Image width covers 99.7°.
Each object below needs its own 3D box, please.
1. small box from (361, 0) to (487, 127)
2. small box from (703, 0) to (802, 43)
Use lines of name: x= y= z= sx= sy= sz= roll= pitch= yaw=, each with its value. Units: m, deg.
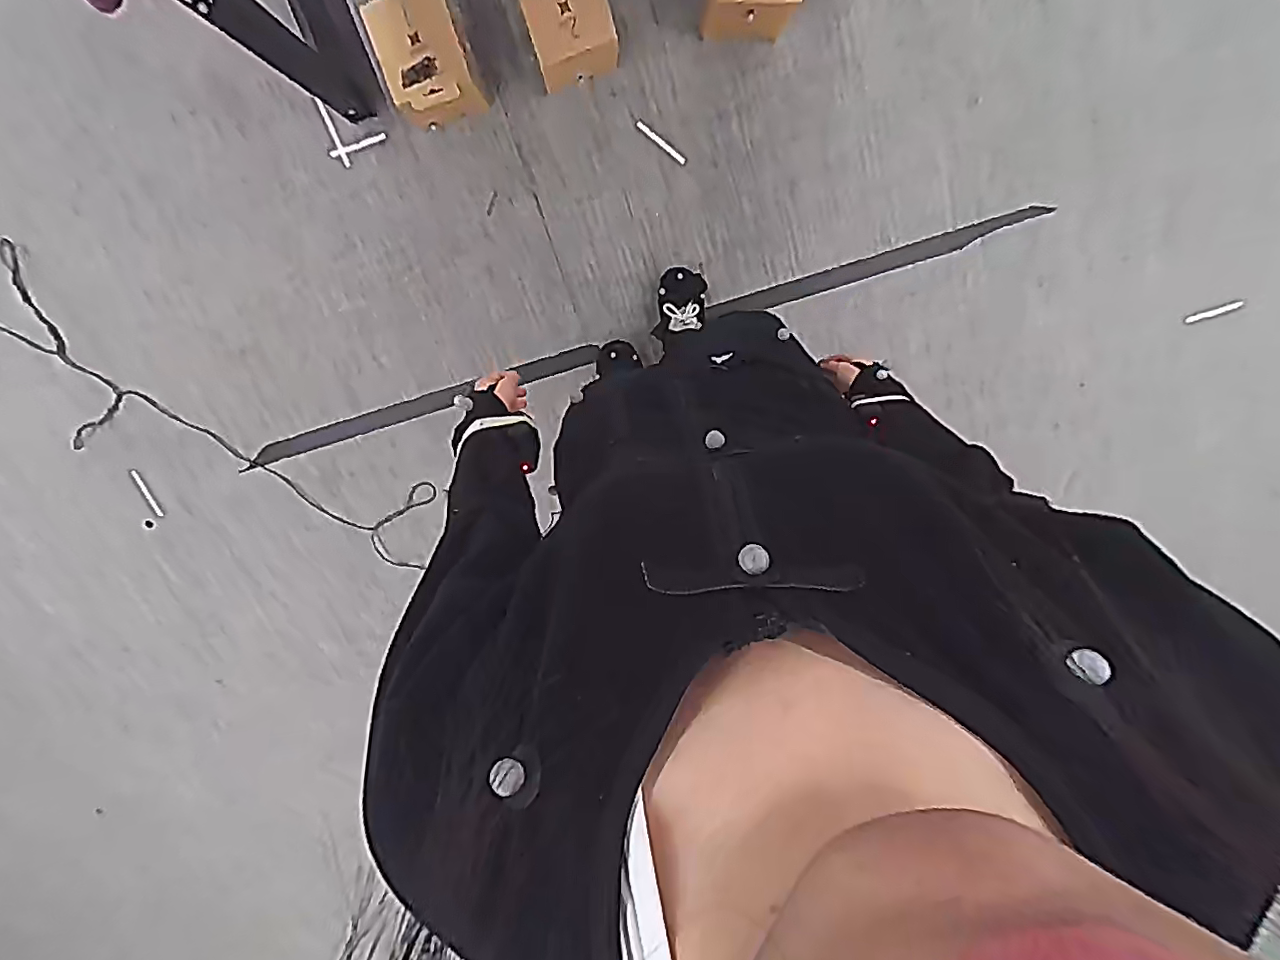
small box: x=-0.440 y=-0.873 z=1.136 sx=0.168 sy=0.176 sz=0.179 roll=-17 pitch=107 yaw=2
small box: x=0.232 y=-1.041 z=1.120 sx=0.179 sy=0.176 sz=0.168 roll=-1 pitch=109 yaw=-1
